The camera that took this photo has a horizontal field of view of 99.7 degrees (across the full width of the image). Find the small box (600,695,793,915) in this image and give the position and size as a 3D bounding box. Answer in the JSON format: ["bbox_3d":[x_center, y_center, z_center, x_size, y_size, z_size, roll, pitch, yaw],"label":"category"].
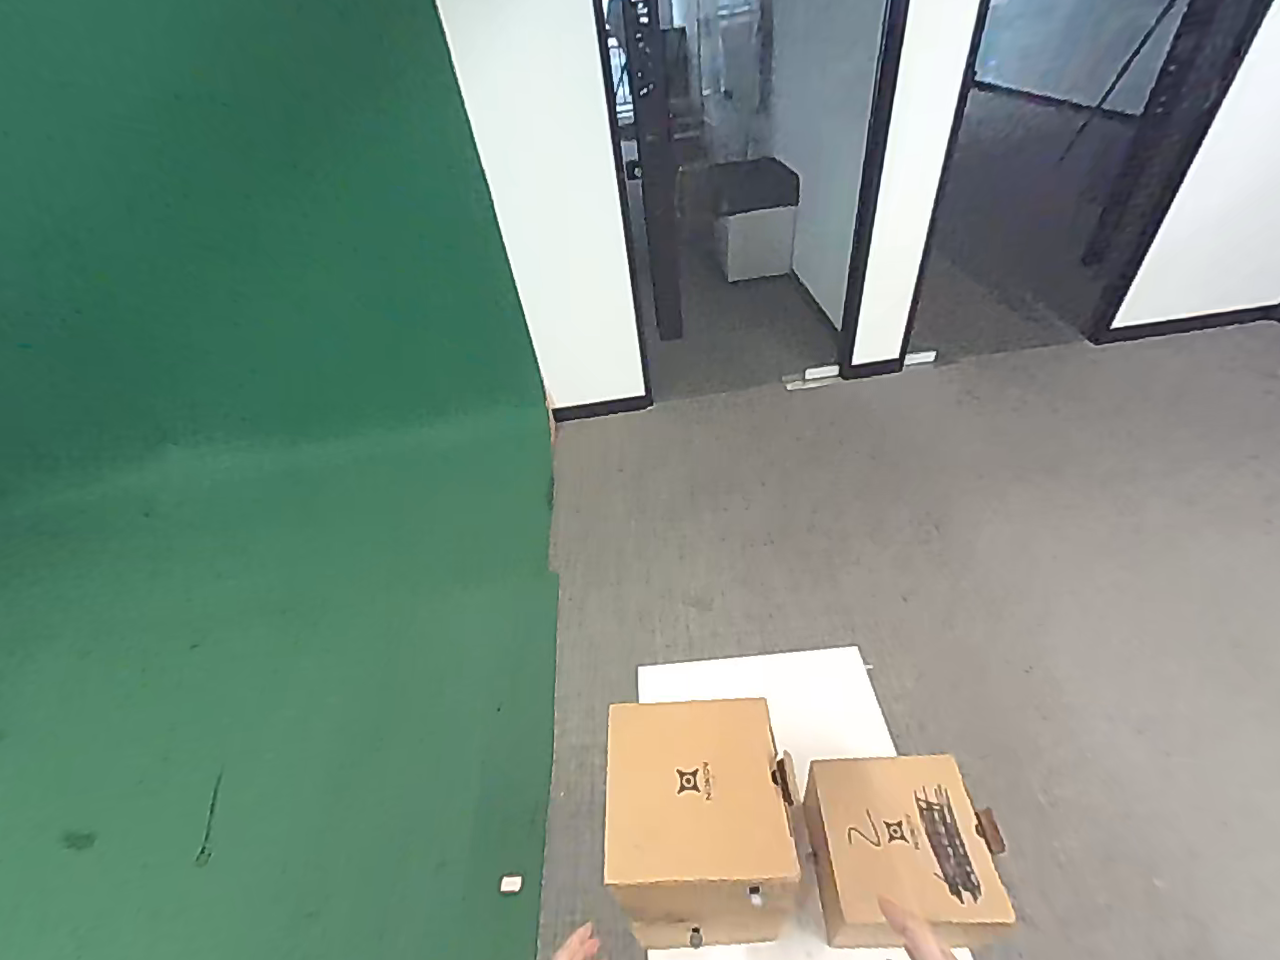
[{"bbox_3d":[0.056,0.356,0.591,0.179,0.176,0.168,-4,42,2],"label":"small box"}]

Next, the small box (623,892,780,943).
[{"bbox_3d":[0.074,0.477,0.699,0.179,0.176,0.168,-6,43,2],"label":"small box"}]
